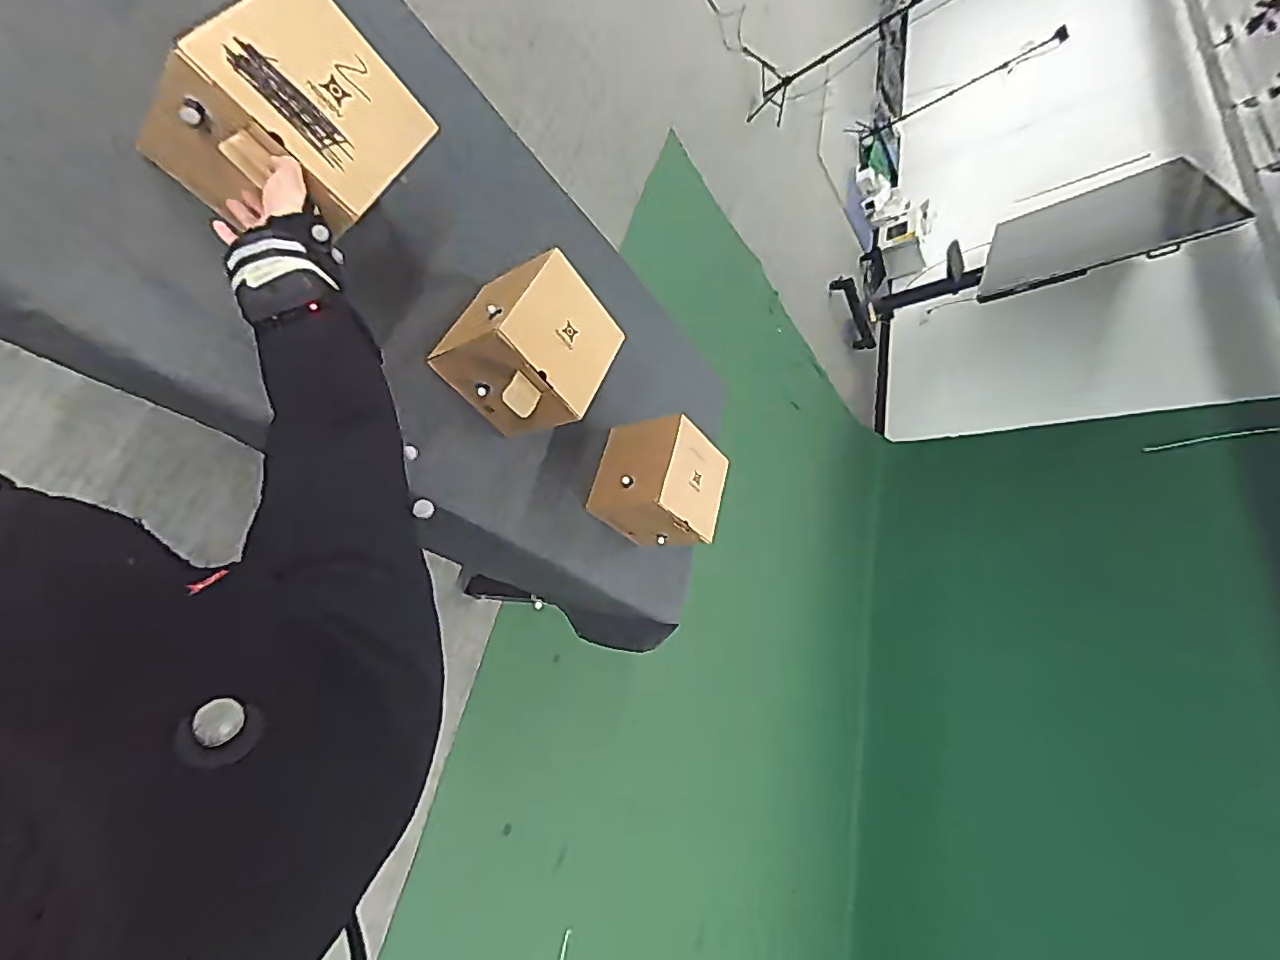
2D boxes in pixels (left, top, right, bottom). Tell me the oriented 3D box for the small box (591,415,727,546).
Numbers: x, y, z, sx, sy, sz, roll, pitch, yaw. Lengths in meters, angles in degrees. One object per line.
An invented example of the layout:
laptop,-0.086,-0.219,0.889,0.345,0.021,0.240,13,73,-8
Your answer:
small box,0.034,0.011,0.977,0.168,0.176,0.179,40,55,-41

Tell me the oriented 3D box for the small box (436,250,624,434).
small box,-0.156,-0.187,0.775,0.168,0.176,0.179,47,52,-36
